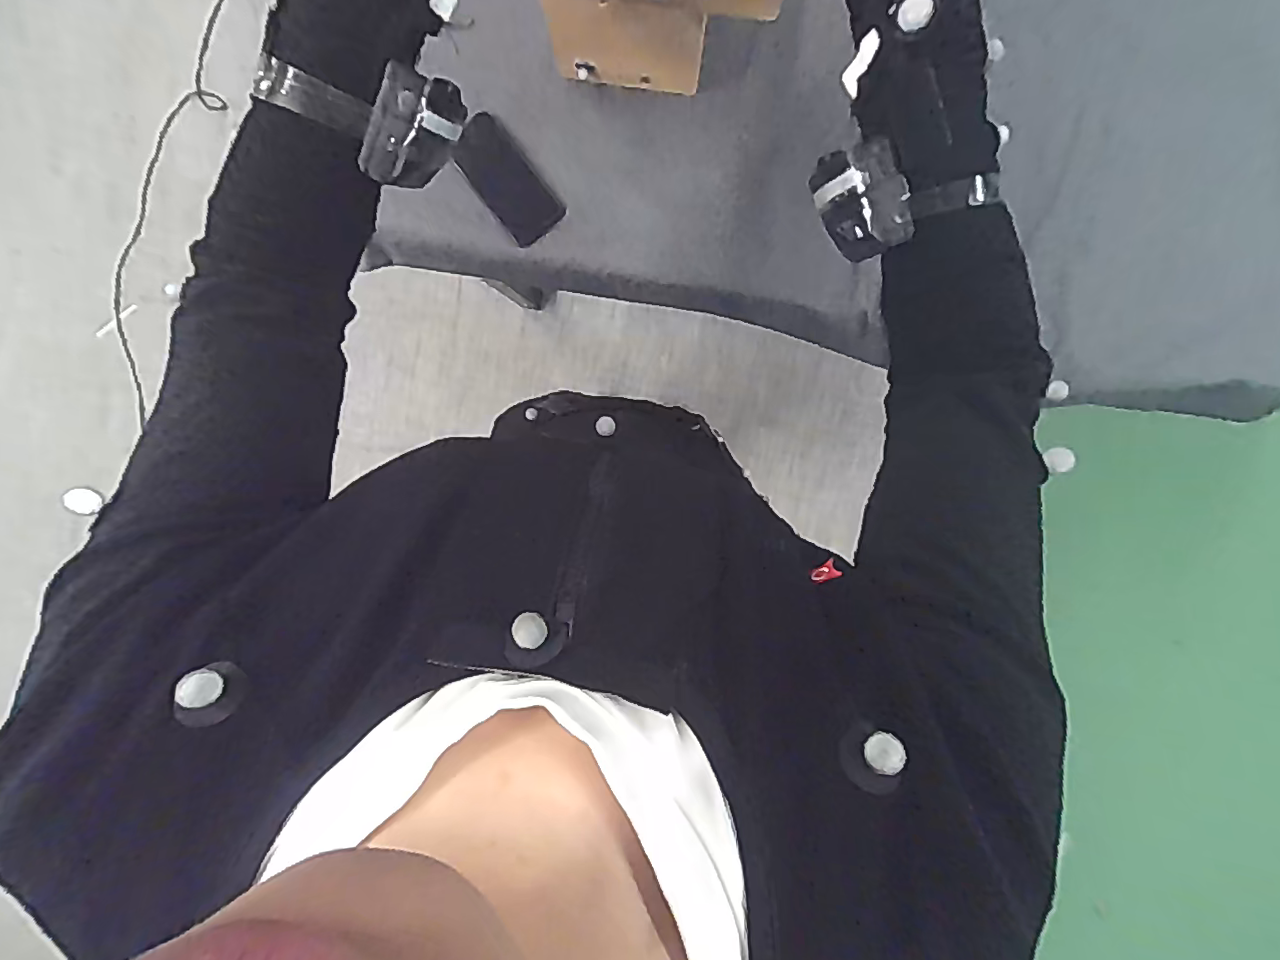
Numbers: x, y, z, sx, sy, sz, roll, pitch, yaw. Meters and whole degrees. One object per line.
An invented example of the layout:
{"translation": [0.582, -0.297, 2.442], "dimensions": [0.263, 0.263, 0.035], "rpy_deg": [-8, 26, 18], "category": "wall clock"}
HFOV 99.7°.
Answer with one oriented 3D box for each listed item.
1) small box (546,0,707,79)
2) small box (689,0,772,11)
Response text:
{"translation": [-0.005, -0.558, 0.557], "dimensions": [0.168, 0.176, 0.179], "rpy_deg": [7, 98, 0], "category": "small box"}
{"translation": [0.035, -0.442, 0.321], "dimensions": [0.168, 0.176, 0.179], "rpy_deg": [4, 96, -3], "category": "small box"}
